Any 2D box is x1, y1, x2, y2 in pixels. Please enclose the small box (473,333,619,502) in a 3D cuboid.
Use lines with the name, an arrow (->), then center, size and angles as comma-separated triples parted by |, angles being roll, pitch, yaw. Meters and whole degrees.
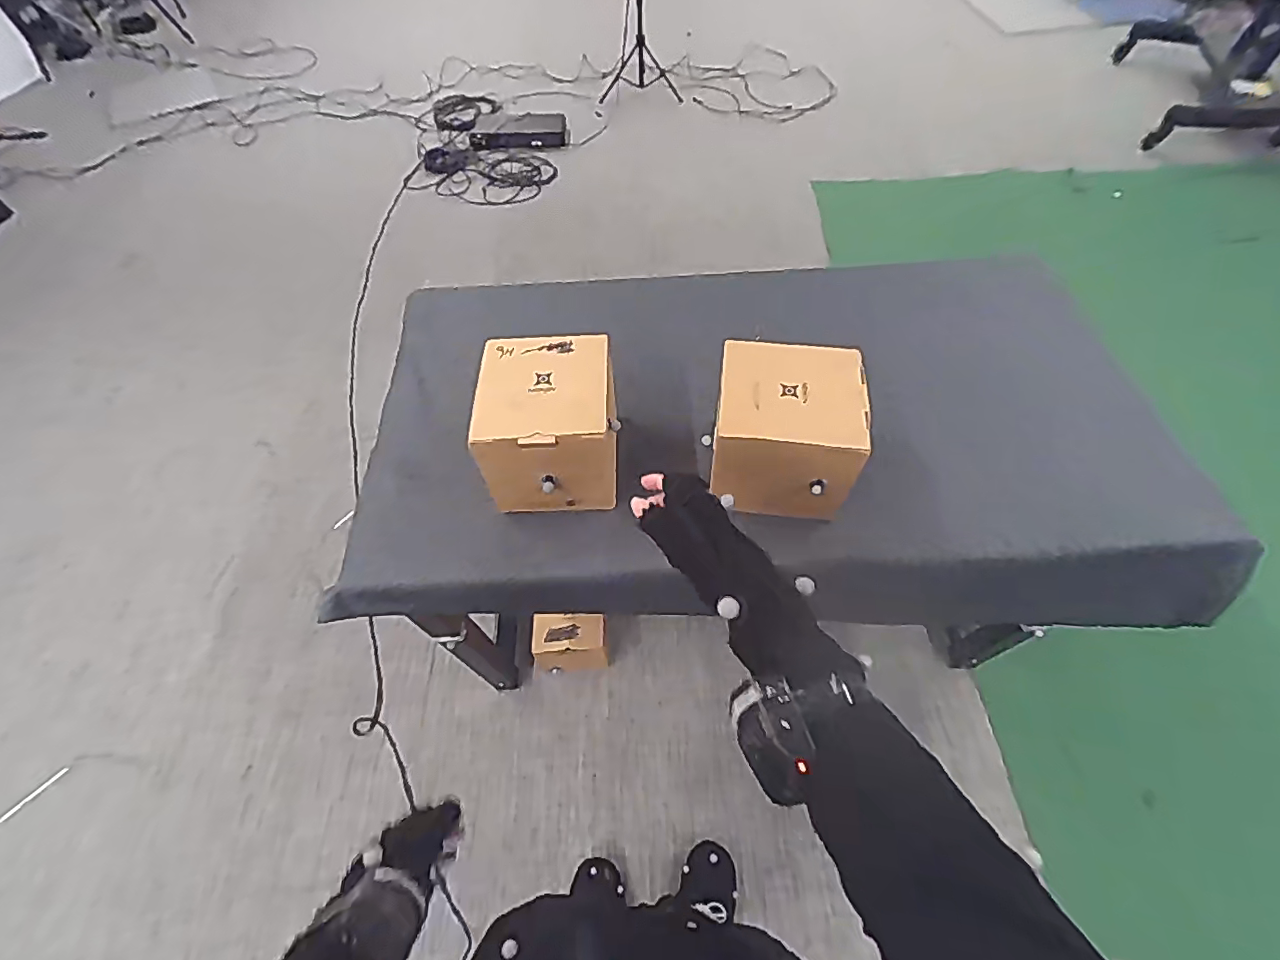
small box -> -0.115, -0.079, 0.749 | 0.168, 0.176, 0.179 | -1, 58, 1

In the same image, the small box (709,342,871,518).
small box -> 0.193, -0.062, 0.732 | 0.179, 0.176, 0.168 | 6, 57, 7
